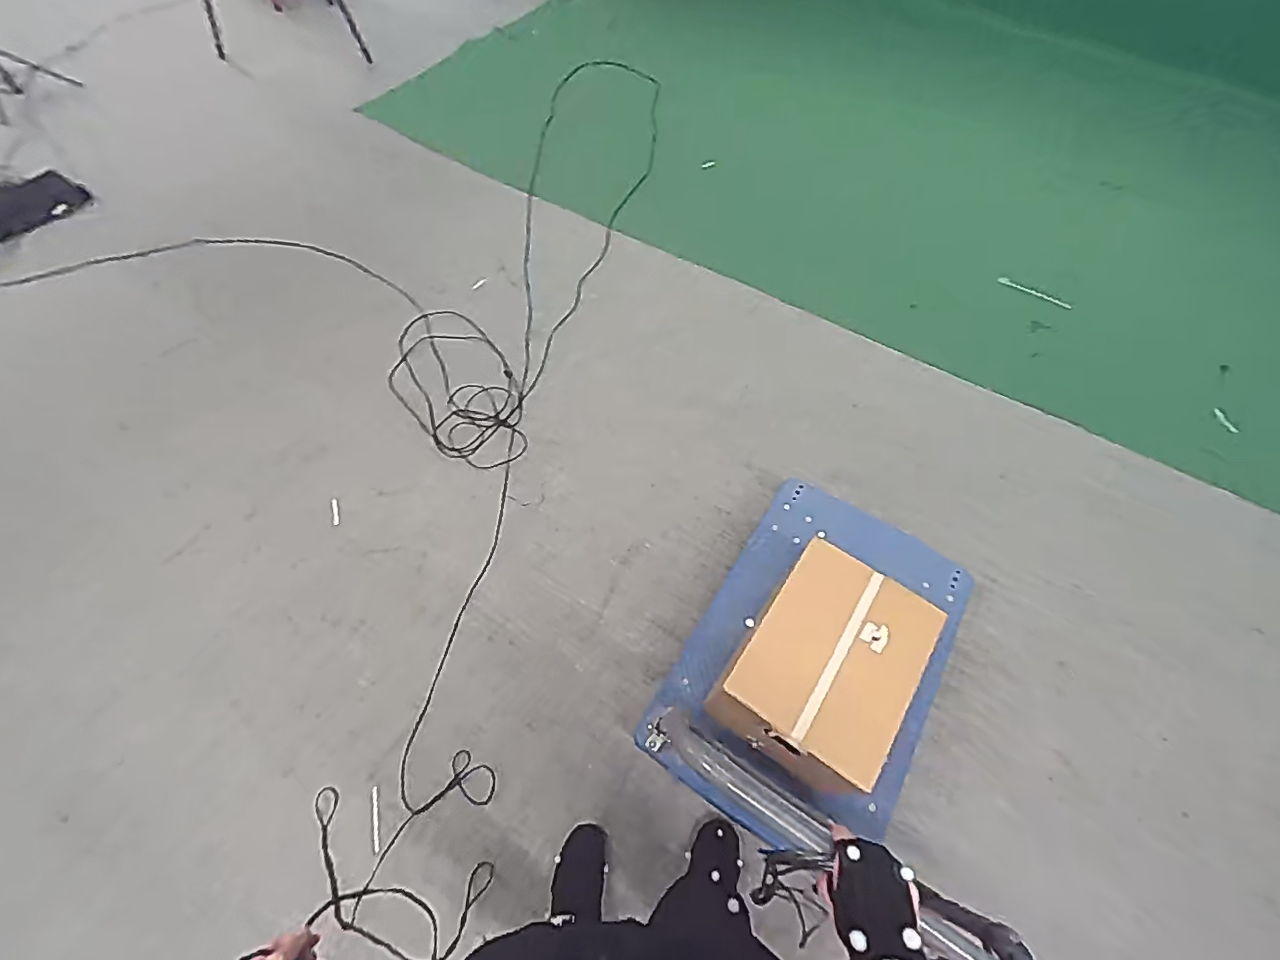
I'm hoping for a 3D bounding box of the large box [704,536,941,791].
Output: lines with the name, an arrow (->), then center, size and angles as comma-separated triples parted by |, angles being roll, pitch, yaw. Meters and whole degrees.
large box -> 0.387, 0.413, 1.208 | 0.320, 0.320, 0.408 | 33, 64, 14
